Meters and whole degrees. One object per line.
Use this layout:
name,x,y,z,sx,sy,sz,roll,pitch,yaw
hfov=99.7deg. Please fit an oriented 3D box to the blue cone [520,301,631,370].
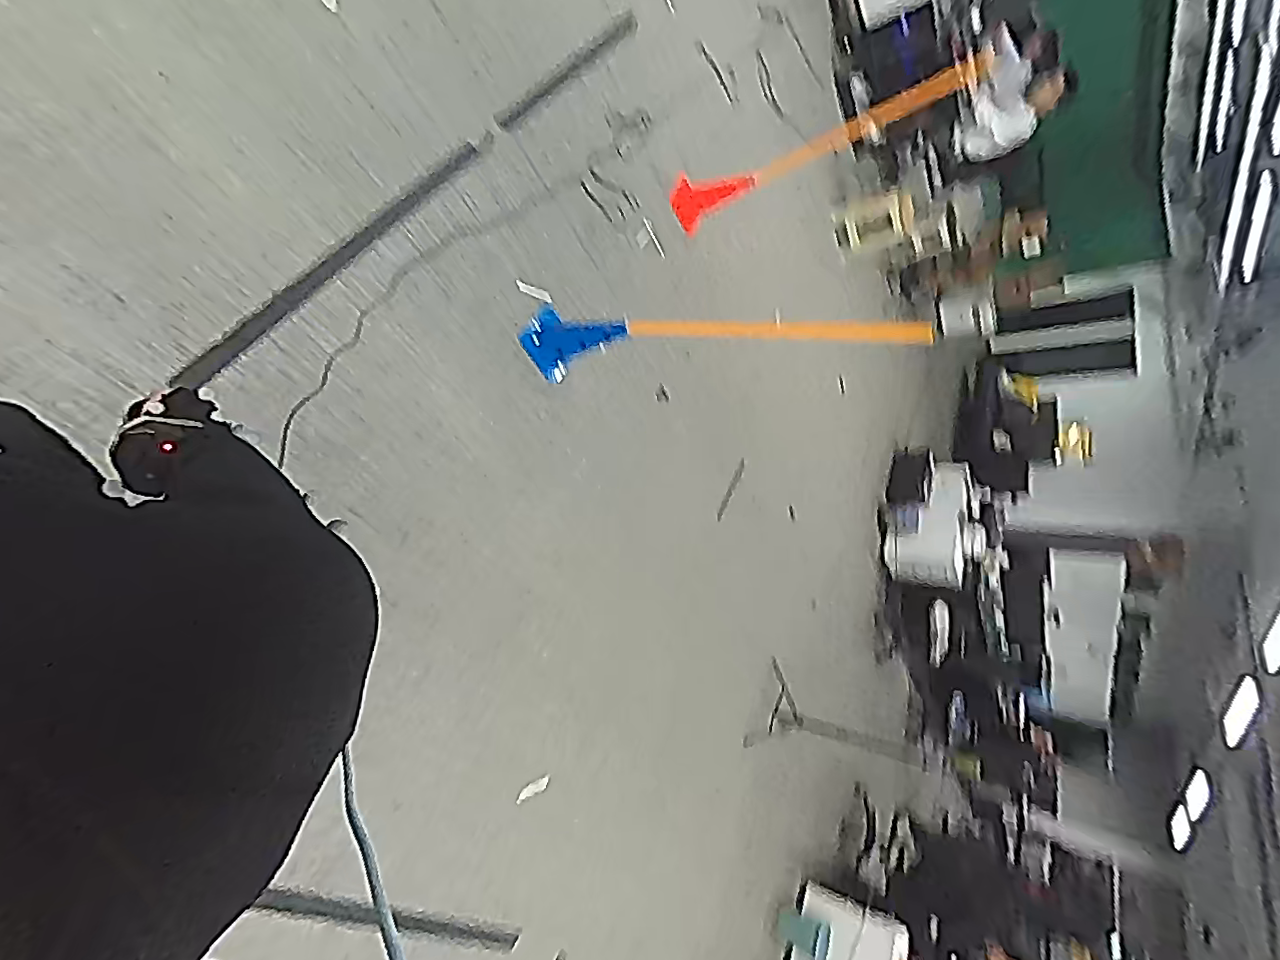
blue cone,-0.188,-0.487,1.734,0.193,0.380,0.192,55,50,-36

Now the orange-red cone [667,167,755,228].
orange-red cone,0.327,-1.270,2.331,0.199,0.360,0.198,46,56,-39
